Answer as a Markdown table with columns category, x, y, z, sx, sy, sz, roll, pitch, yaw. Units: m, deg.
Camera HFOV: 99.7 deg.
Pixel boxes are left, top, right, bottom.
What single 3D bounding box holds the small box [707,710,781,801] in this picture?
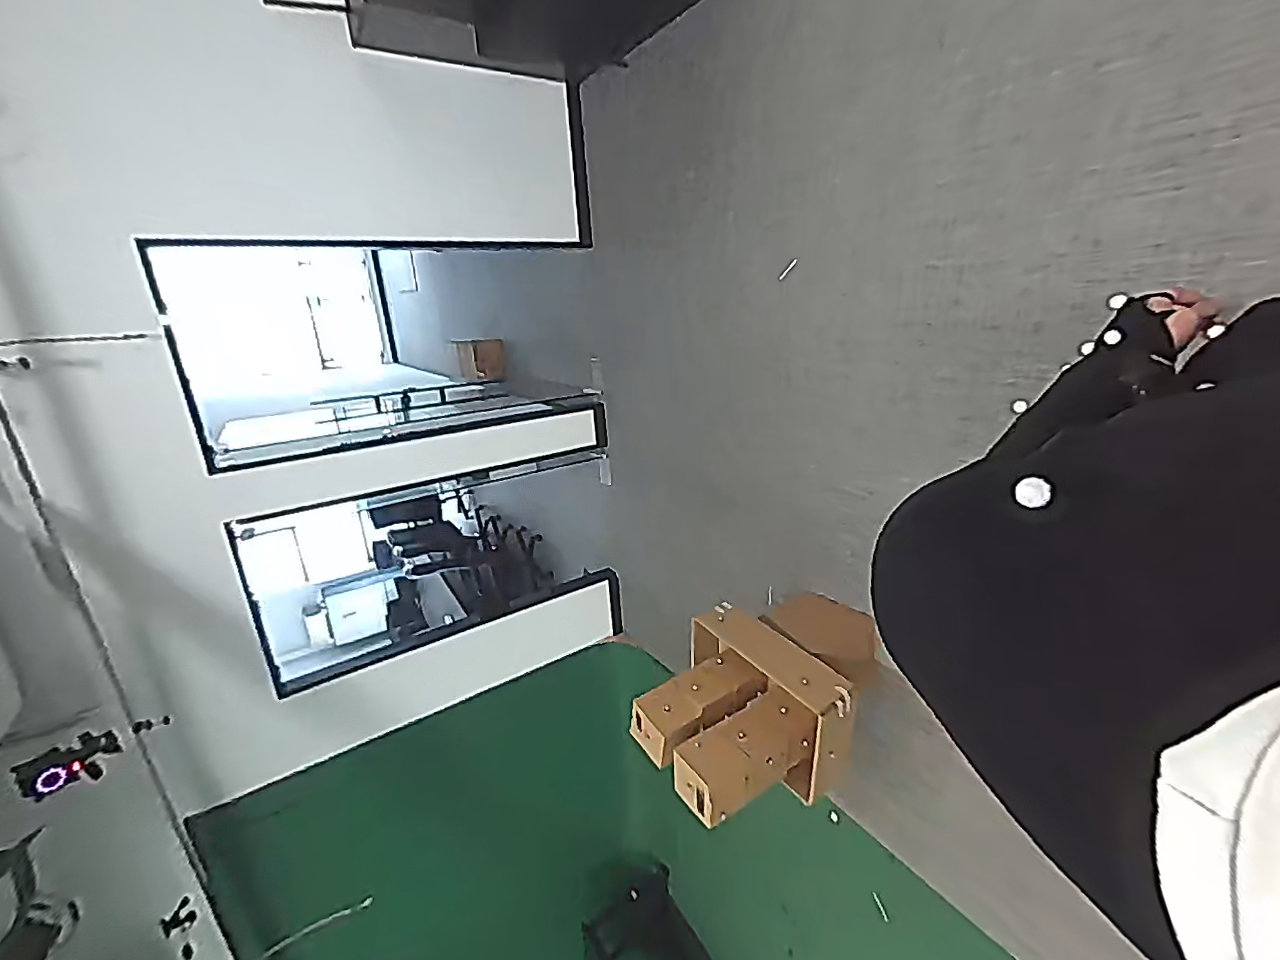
| category | x | y | z | sx | sy | sz | roll | pitch | yaw |
| --- | --- | --- | --- | --- | --- | --- | --- | --- | --- |
| small box | 0.336 | 0.880 | 1.749 | 0.179 | 0.176 | 0.168 | 24 | 121 | 53 |

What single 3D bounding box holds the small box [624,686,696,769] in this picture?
| category | x | y | z | sx | sy | sz | roll | pitch | yaw |
| --- | --- | --- | --- | --- | --- | --- | --- | --- | --- |
| small box | 0.067 | 0.835 | 1.850 | 0.179 | 0.176 | 0.168 | 34 | 129 | 44 |

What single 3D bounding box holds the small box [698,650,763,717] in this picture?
| category | x | y | z | sx | sy | sz | roll | pitch | yaw |
| --- | --- | --- | --- | --- | --- | --- | --- | --- | --- |
| small box | 0.334 | 0.763 | 2.022 | 0.179 | 0.176 | 0.168 | 24 | 122 | 50 |

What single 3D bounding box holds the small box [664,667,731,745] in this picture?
| category | x | y | z | sx | sy | sz | roll | pitch | yaw |
| --- | --- | --- | --- | --- | --- | --- | --- | --- | --- |
| small box | 0.203 | 0.798 | 1.934 | 0.179 | 0.176 | 0.168 | 23 | 120 | 50 |
